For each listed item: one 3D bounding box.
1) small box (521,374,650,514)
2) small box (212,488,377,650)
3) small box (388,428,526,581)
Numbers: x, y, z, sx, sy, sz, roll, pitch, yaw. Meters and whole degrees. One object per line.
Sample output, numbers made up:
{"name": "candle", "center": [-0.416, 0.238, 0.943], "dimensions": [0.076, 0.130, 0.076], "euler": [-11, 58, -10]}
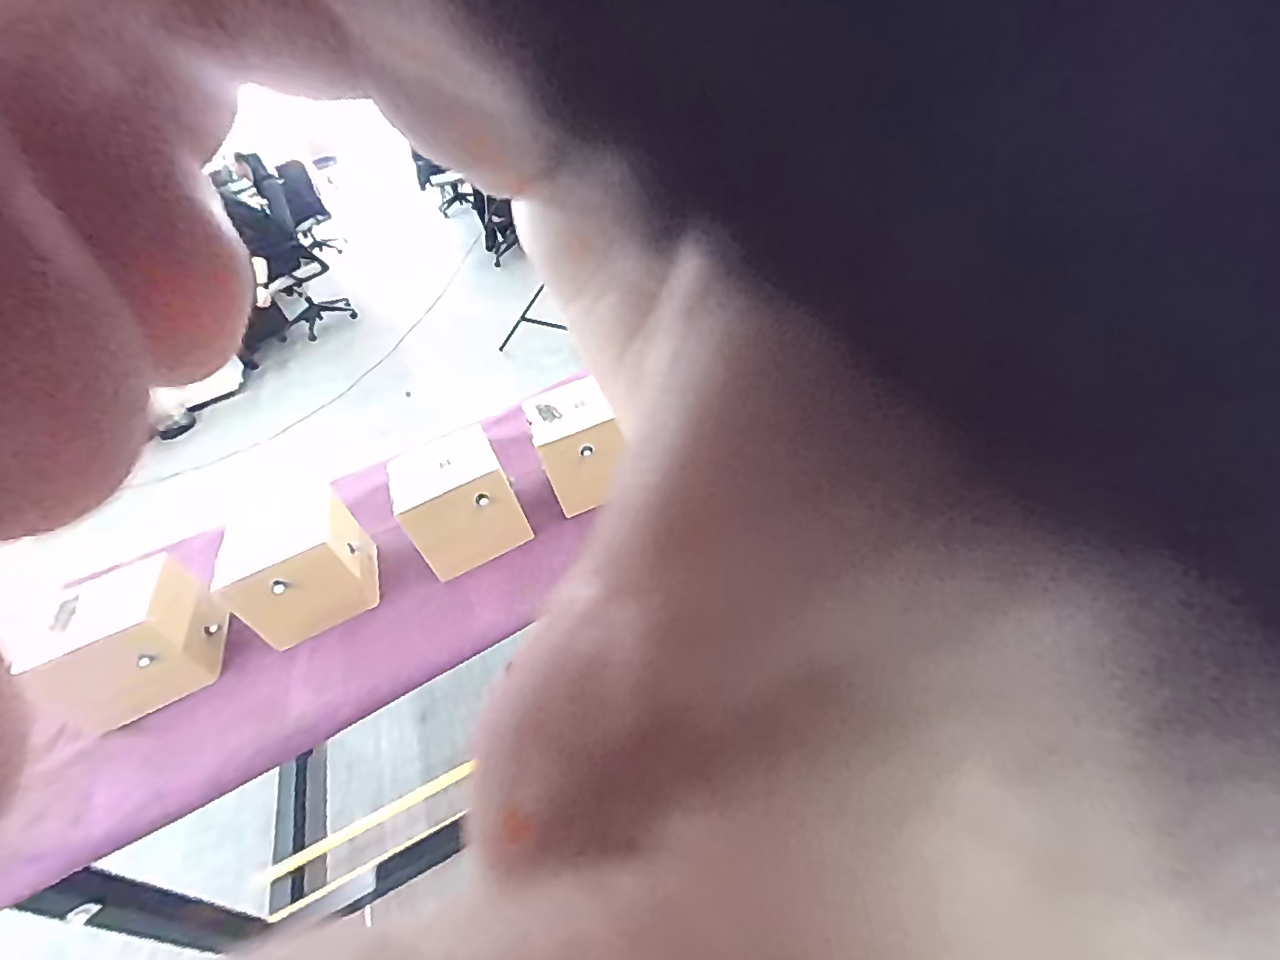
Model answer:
{"name": "small box", "center": [-0.099, -0.064, 1.000], "dimensions": [0.179, 0.176, 0.168], "euler": [-22, 39, -7]}
{"name": "small box", "center": [-0.569, 0.151, 0.921], "dimensions": [0.179, 0.176, 0.168], "euler": [-26, 41, -10]}
{"name": "small box", "center": [-0.315, 0.042, 0.953], "dimensions": [0.179, 0.176, 0.168], "euler": [-26, 39, -11]}
